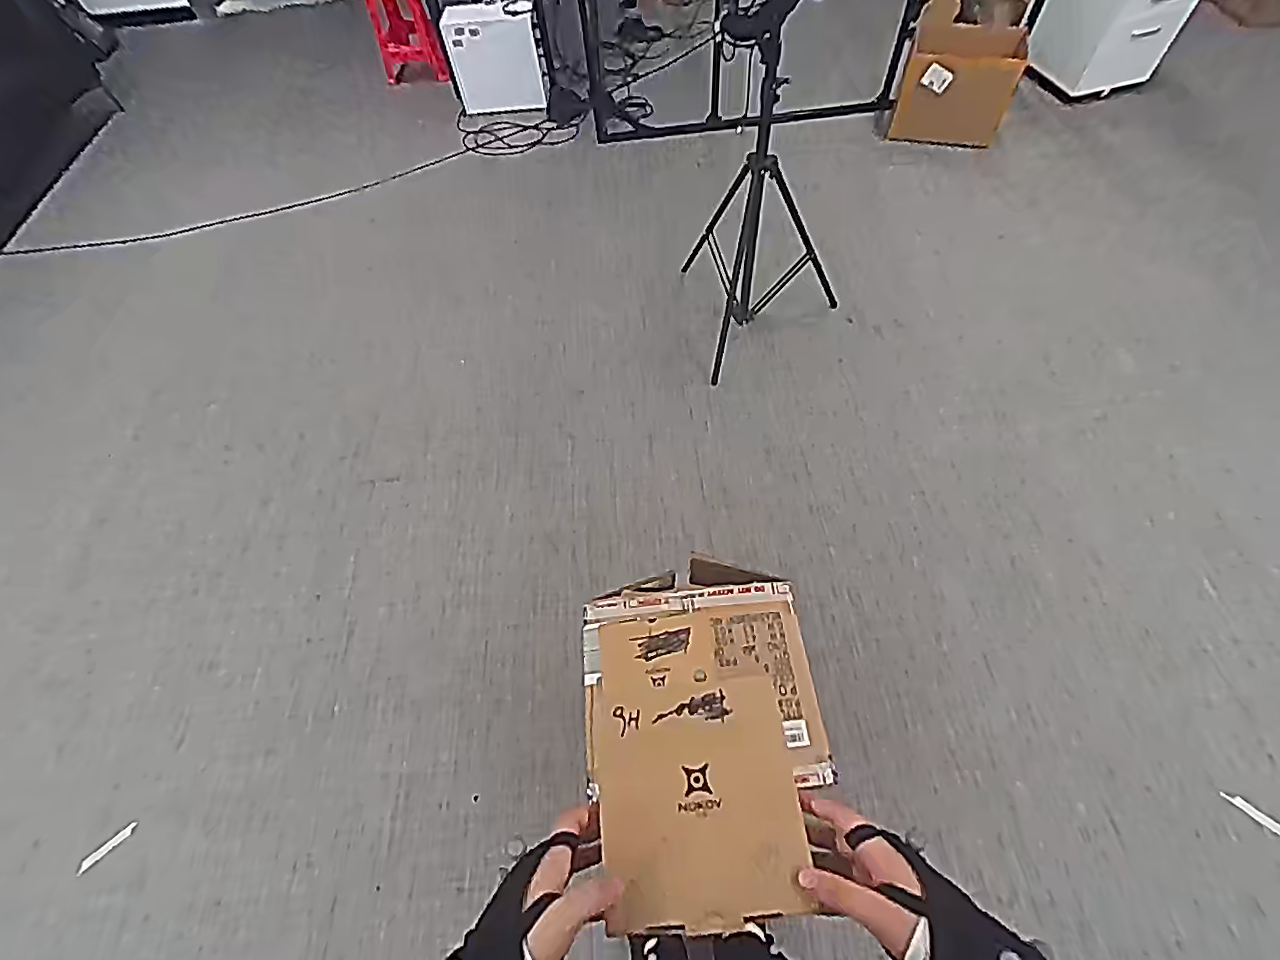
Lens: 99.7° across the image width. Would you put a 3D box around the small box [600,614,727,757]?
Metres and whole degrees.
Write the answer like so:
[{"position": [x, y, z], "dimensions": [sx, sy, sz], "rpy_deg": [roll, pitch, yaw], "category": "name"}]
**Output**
[{"position": [0.034, 0.320, 0.830], "dimensions": [0.168, 0.176, 0.179], "rpy_deg": [-8, 63, 2], "category": "small box"}]
